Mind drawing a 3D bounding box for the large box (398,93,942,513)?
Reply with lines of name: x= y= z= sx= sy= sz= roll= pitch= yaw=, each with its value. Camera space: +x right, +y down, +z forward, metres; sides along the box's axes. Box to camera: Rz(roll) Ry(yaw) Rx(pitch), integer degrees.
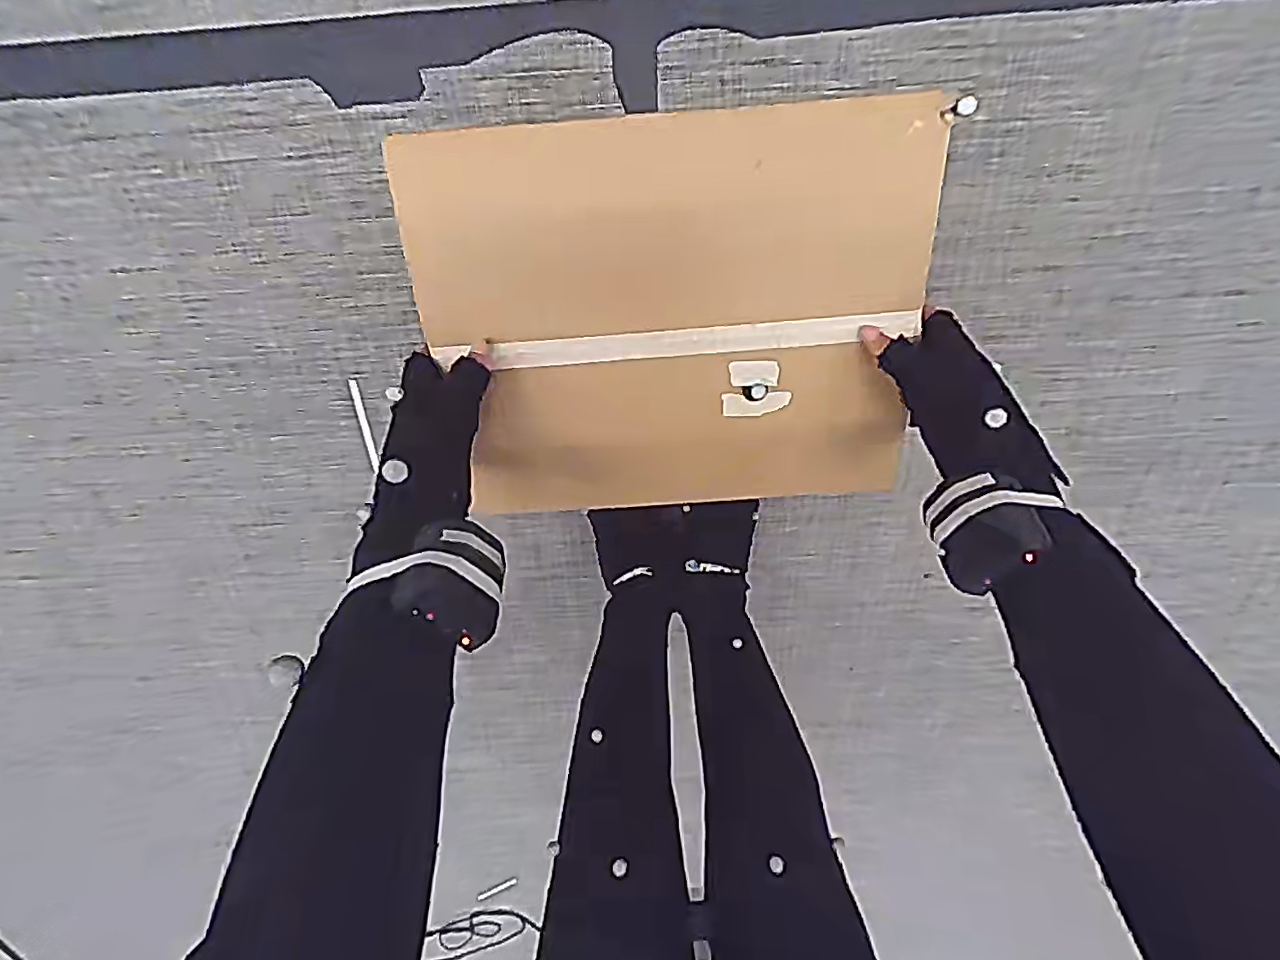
large box: x=0.027 y=-0.186 z=0.587 sx=0.408 sy=0.320 sz=0.320 roll=-4 pitch=117 yaw=1
